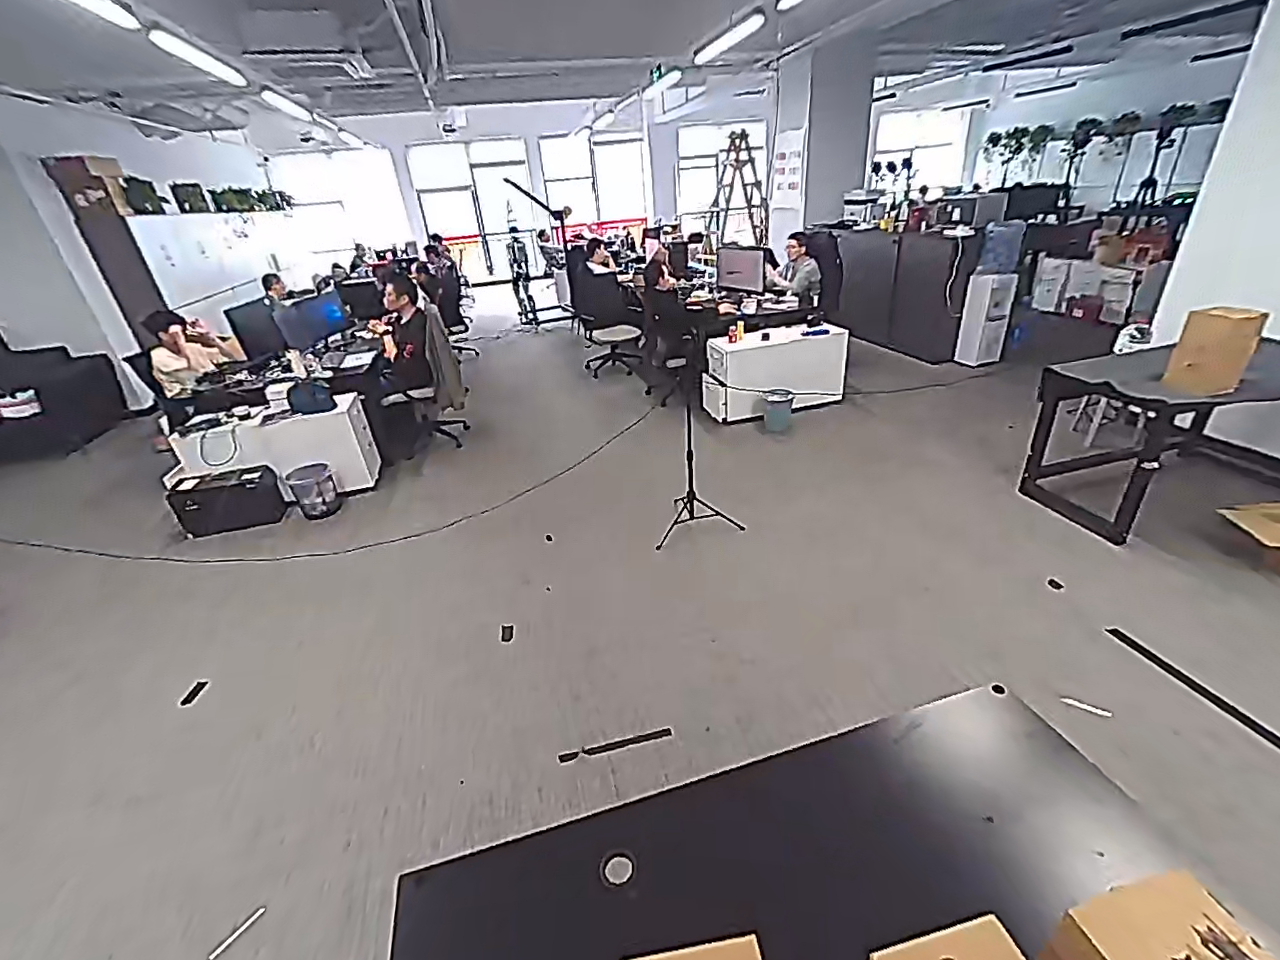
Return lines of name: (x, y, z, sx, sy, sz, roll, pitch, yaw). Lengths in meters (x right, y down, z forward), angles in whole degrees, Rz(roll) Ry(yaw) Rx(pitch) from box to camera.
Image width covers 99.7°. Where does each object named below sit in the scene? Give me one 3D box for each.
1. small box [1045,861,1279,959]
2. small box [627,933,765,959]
small box: (0.622, 0.598, 0.632, 0.179, 0.176, 0.168, -12, 28, -9)
small box: (0.078, 0.667, 0.609, 0.168, 0.176, 0.179, -8, 28, -5)
